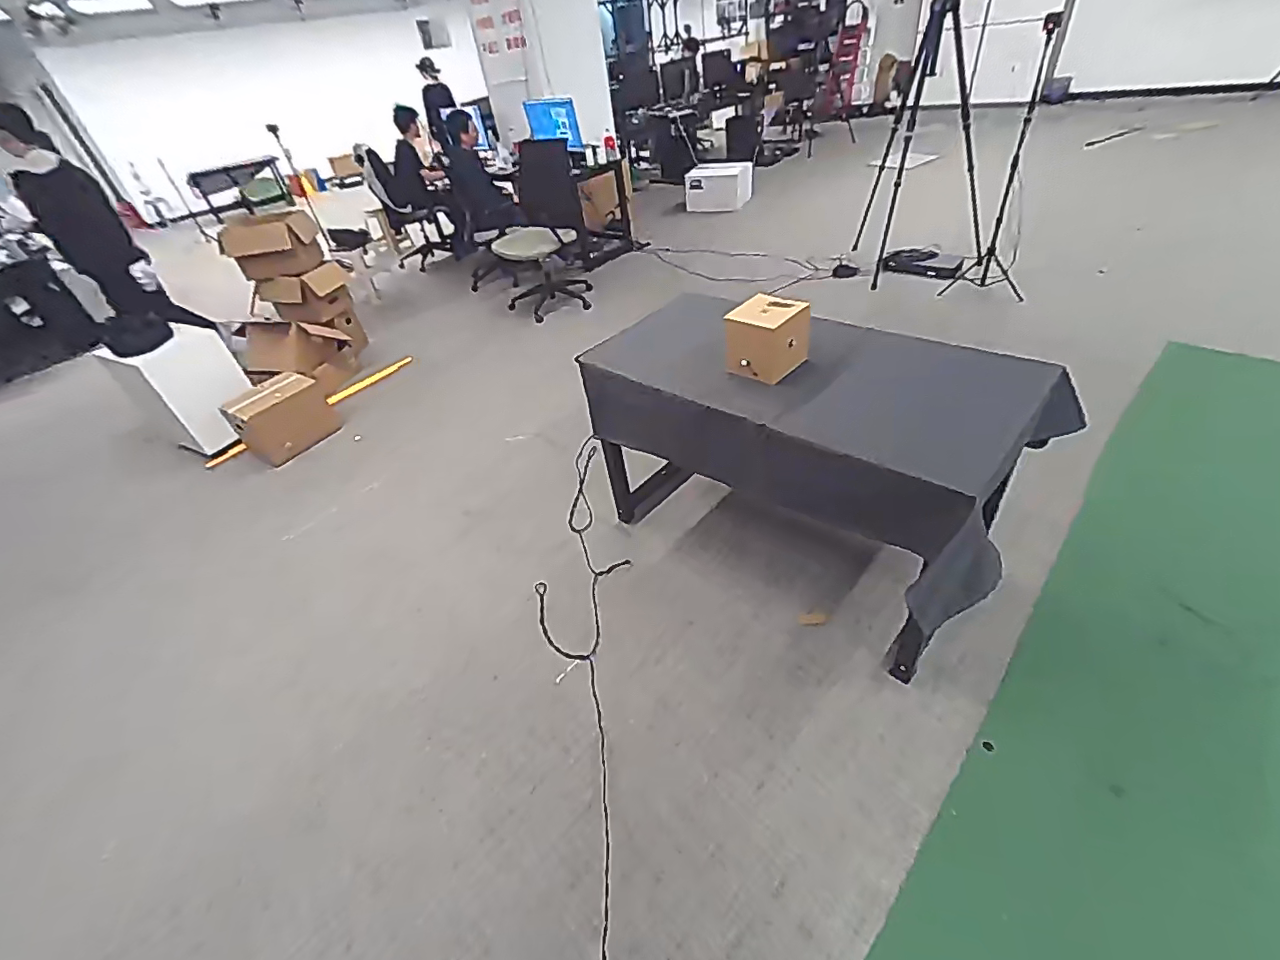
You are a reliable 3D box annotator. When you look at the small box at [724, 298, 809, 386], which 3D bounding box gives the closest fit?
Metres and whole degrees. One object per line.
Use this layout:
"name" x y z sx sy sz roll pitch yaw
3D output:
"small box" 0.352 -0.388 1.515 0.168 0.176 0.179 27 51 37
